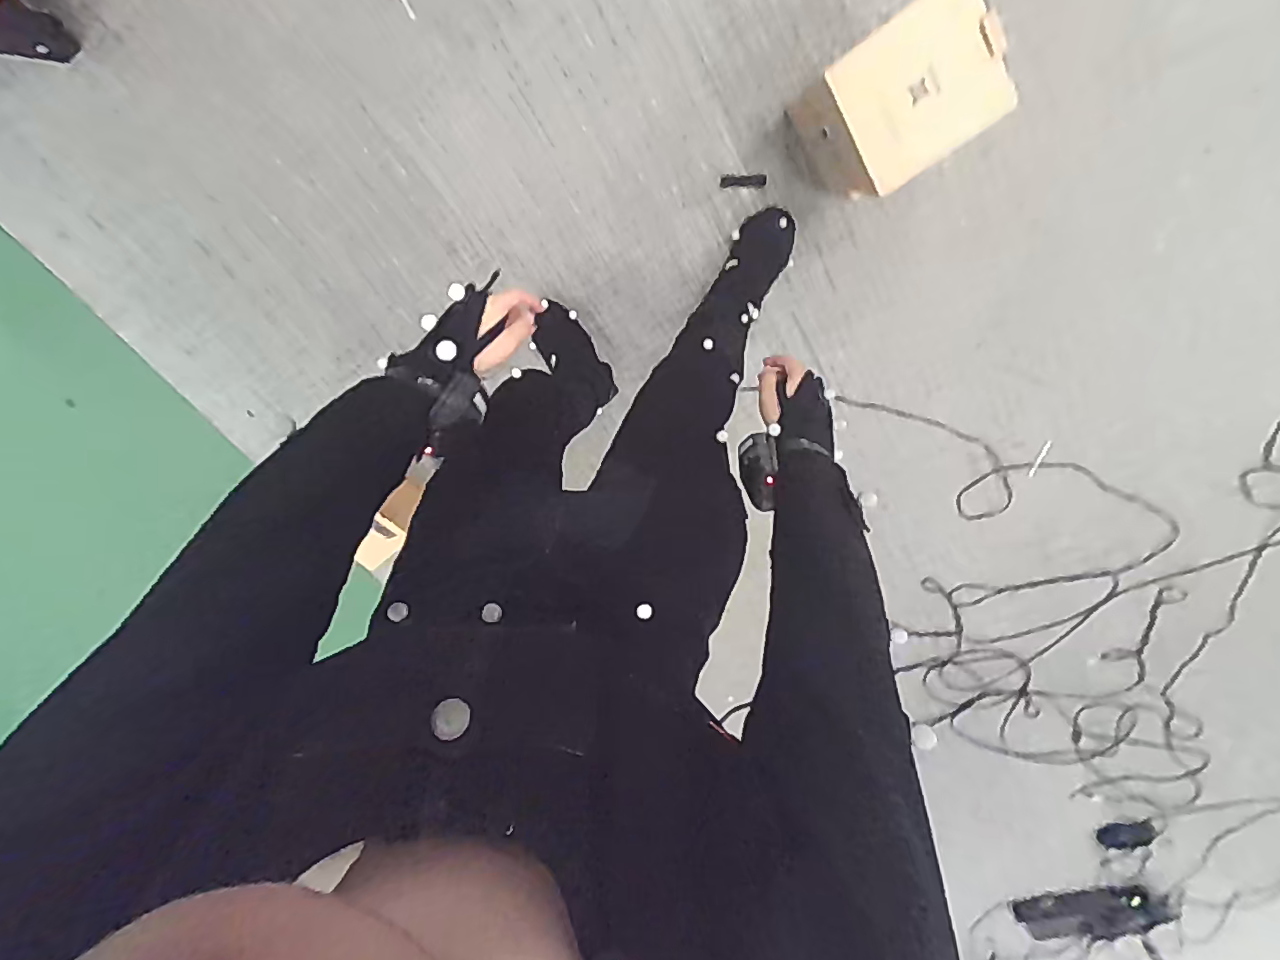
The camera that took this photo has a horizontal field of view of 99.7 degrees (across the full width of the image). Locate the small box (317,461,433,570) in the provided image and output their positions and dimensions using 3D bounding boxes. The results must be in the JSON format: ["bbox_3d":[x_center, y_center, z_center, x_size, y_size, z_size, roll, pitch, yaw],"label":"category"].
[{"bbox_3d":[-0.645,0.083,1.343,0.179,0.176,0.168,-35,112,23],"label":"small box"}]

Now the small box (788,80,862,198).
[{"bbox_3d":[0.356,-0.581,0.863,0.168,0.176,0.179,-31,113,20],"label":"small box"}]

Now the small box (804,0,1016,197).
[{"bbox_3d":[0.342,-0.508,0.716,0.179,0.176,0.168,-31,112,21],"label":"small box"}]
